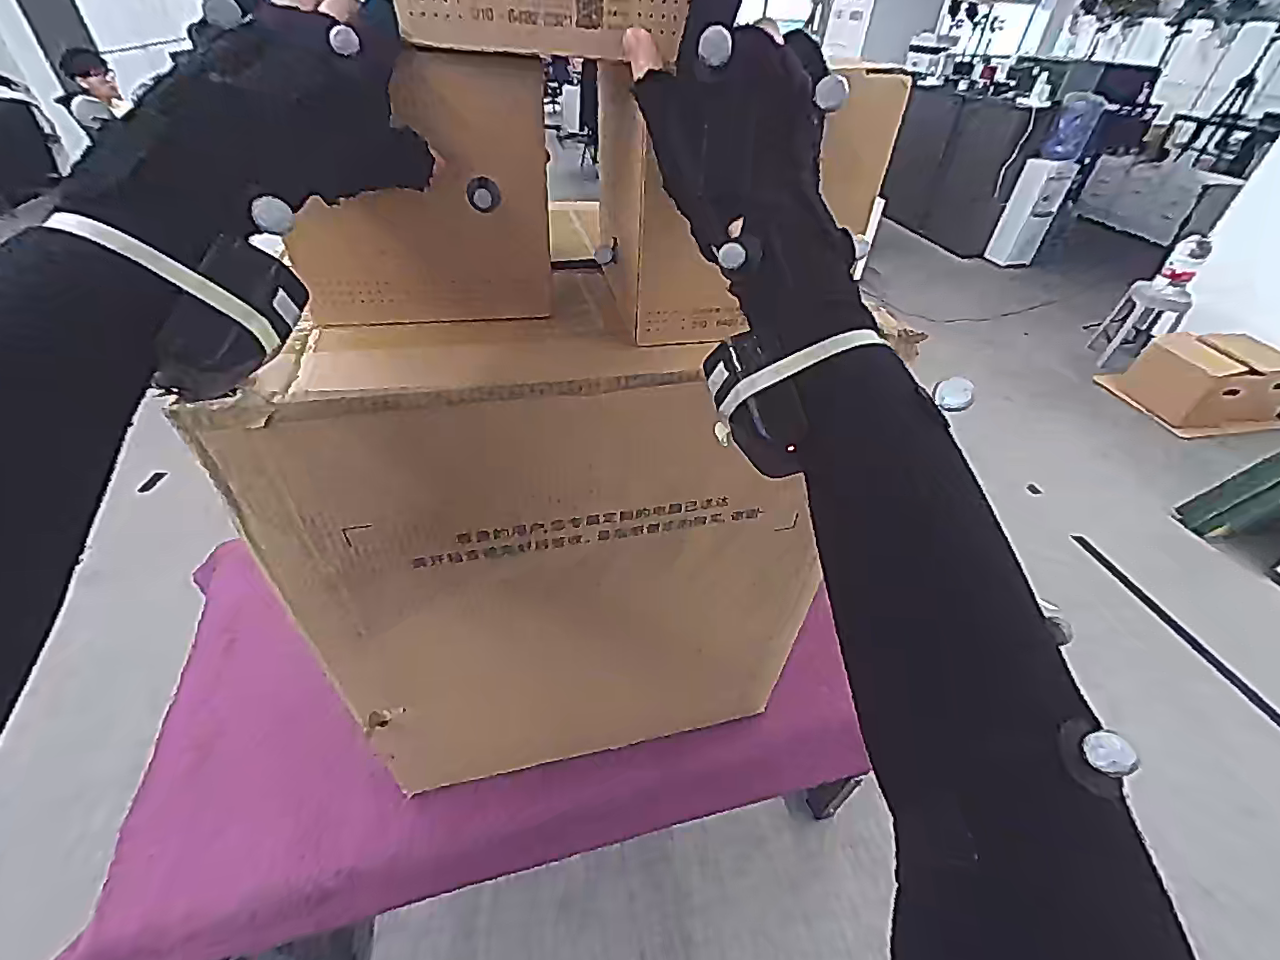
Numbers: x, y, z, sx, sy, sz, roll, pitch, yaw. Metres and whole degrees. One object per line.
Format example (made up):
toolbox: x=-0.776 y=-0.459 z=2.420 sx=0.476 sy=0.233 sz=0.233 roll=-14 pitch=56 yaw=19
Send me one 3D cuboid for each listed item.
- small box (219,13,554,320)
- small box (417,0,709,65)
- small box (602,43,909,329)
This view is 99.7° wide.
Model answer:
small box: x=-0.160 y=-0.234 z=0.410 sx=0.179 sy=0.176 sz=0.168 roll=-7 pitch=42 yaw=-13
small box: x=-0.040 y=-0.355 z=0.310 sx=0.168 sy=0.176 sz=0.179 roll=2 pitch=41 yaw=-3
small box: x=0.065 y=-0.228 z=0.422 sx=0.168 sy=0.176 sz=0.179 roll=-6 pitch=42 yaw=-10
